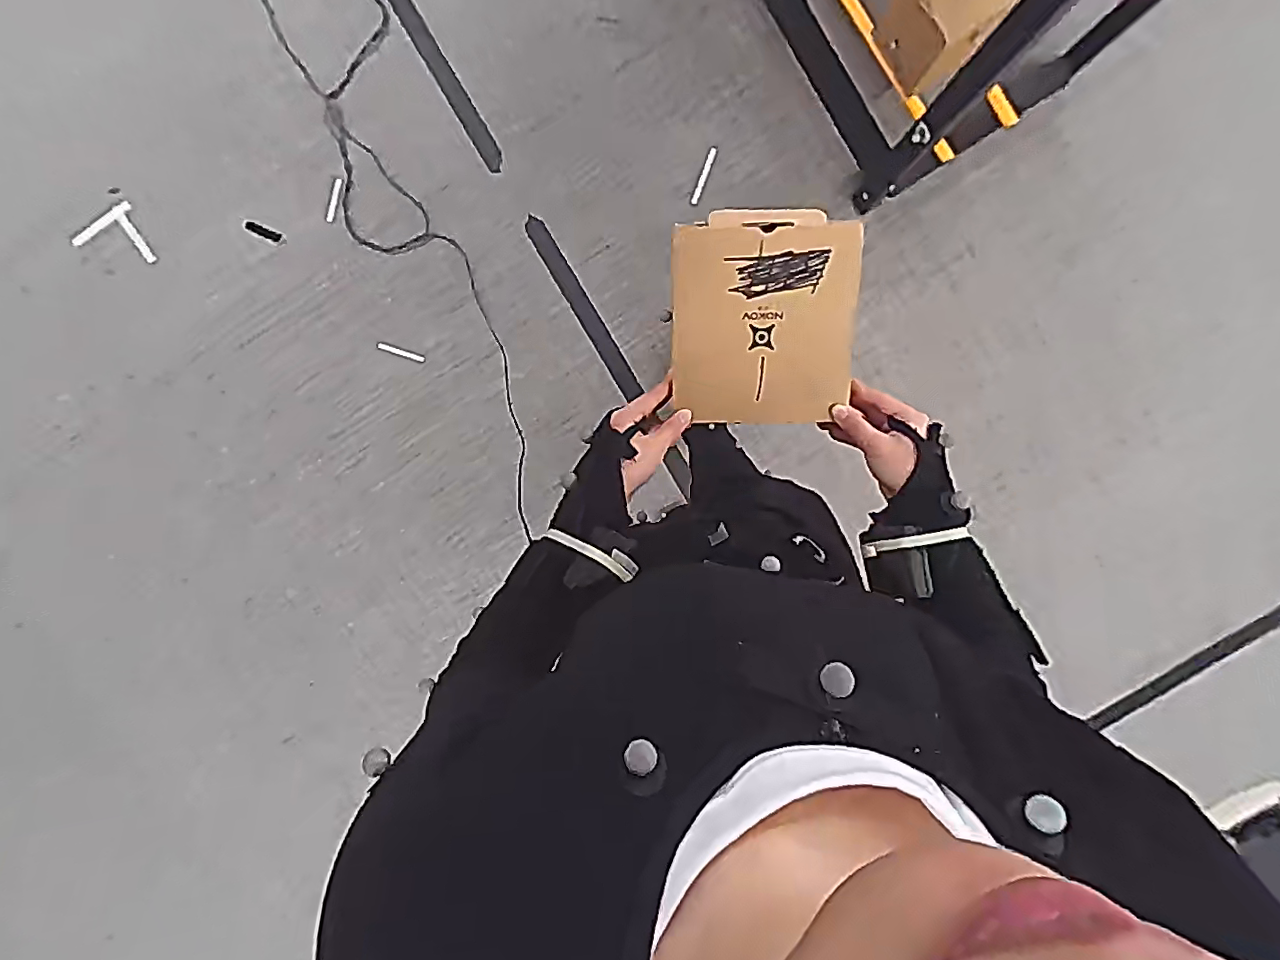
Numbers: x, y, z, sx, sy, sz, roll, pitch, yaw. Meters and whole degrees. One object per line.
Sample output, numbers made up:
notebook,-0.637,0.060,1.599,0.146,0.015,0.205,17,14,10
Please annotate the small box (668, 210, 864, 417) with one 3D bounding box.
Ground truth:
small box,0.113,-0.162,0.556,0.168,0.176,0.179,-1,105,3

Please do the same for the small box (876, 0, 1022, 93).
small box,0.616,-0.943,1.088,0.179,0.176,0.168,-32,92,4
